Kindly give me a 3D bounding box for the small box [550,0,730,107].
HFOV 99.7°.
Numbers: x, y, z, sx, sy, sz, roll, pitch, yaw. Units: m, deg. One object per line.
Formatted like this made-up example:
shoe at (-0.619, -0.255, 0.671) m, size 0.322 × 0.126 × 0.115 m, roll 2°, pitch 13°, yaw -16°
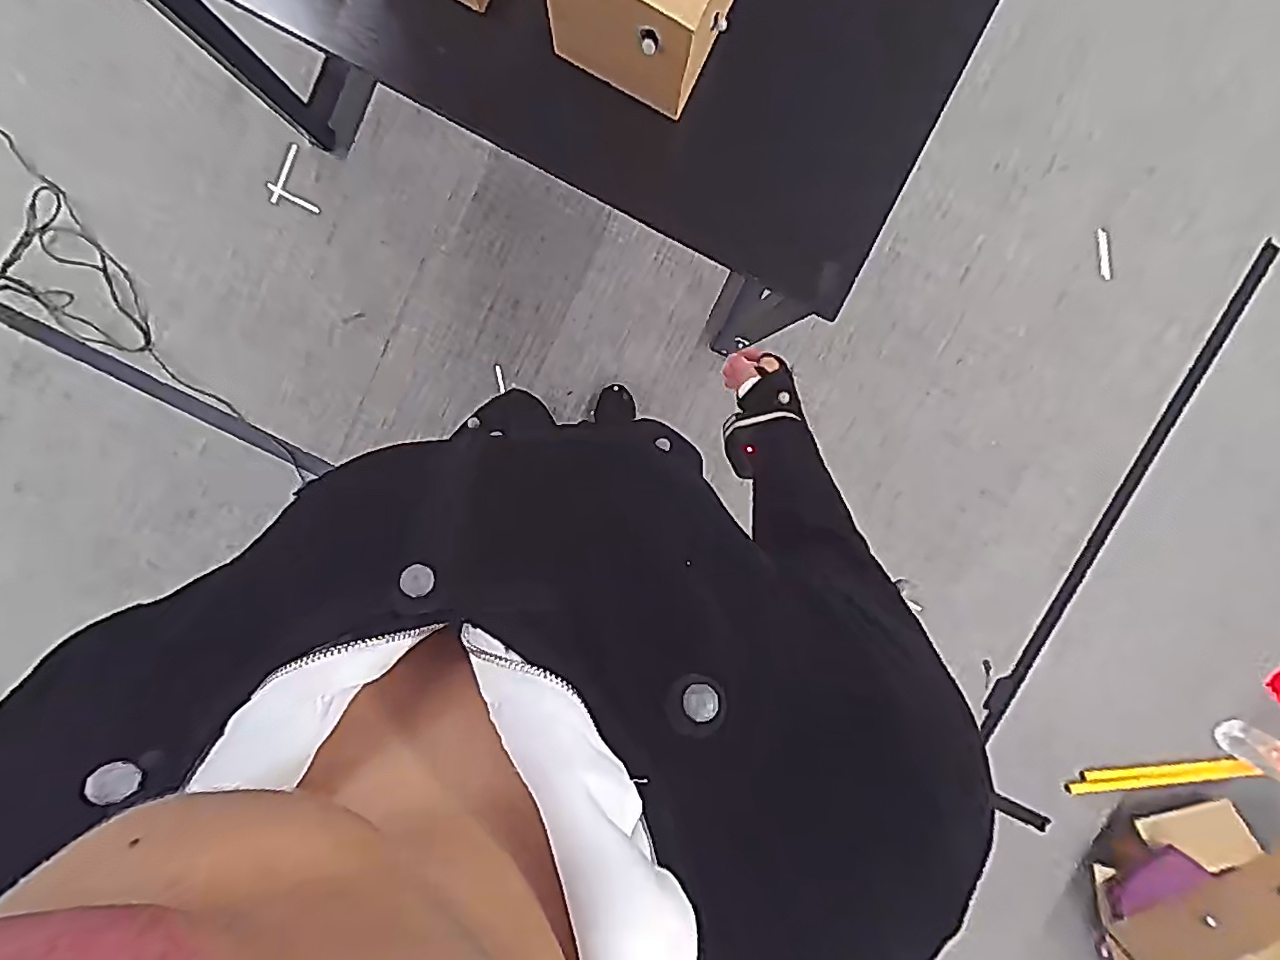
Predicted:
small box at (0.010, -0.567, 0.605) m, size 0.179 × 0.176 × 0.168 m, roll 25°, pitch 95°, yaw -5°
